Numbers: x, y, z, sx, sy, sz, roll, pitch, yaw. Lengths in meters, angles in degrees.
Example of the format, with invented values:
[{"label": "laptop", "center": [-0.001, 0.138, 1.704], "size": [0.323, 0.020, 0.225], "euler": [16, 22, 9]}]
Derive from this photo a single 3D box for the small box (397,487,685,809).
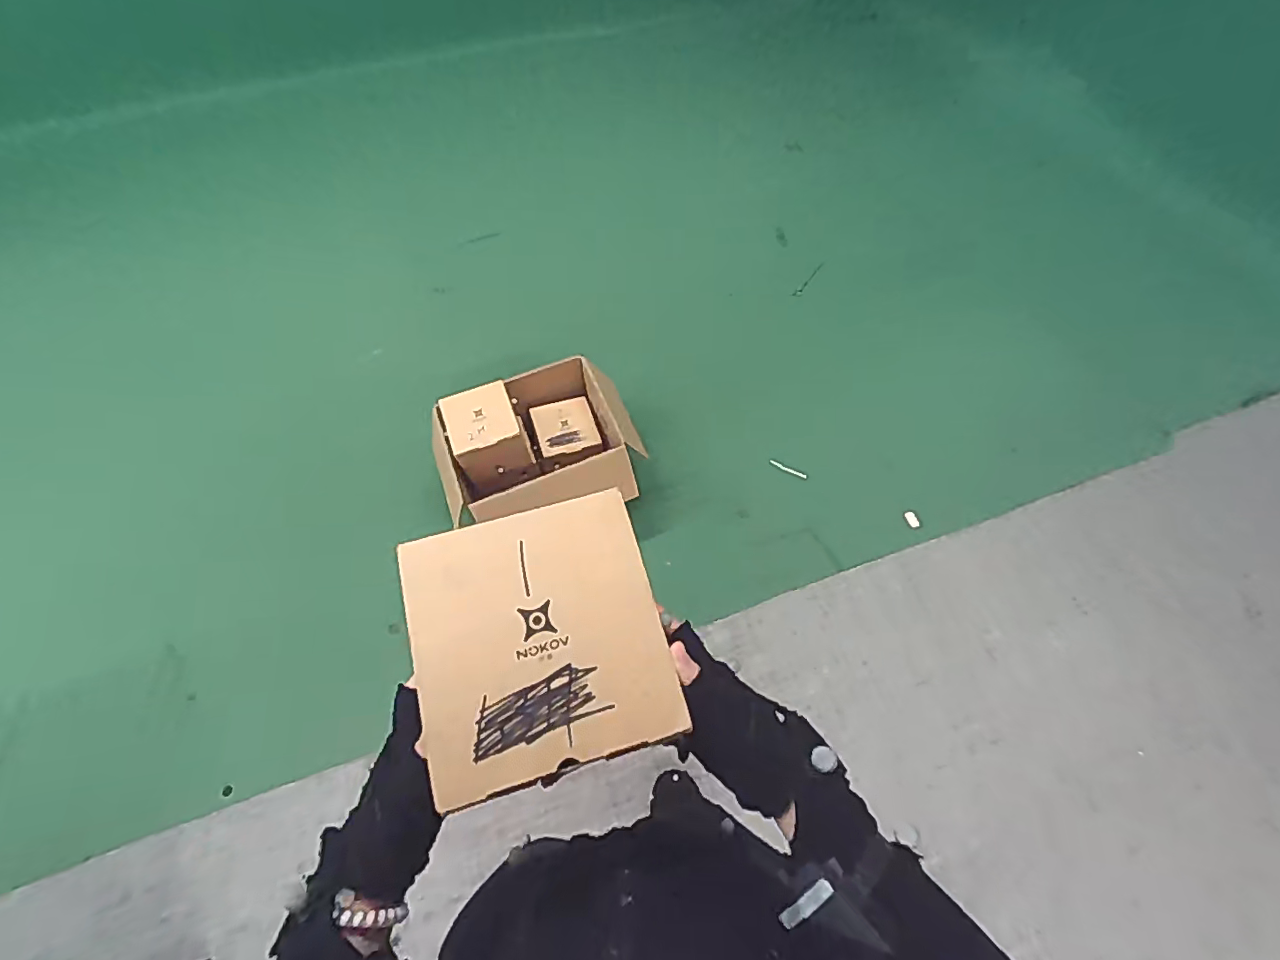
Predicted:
[{"label": "small box", "center": [-0.073, 0.129, 0.439], "size": [0.168, 0.176, 0.179], "euler": [-15, 71, -9]}]
